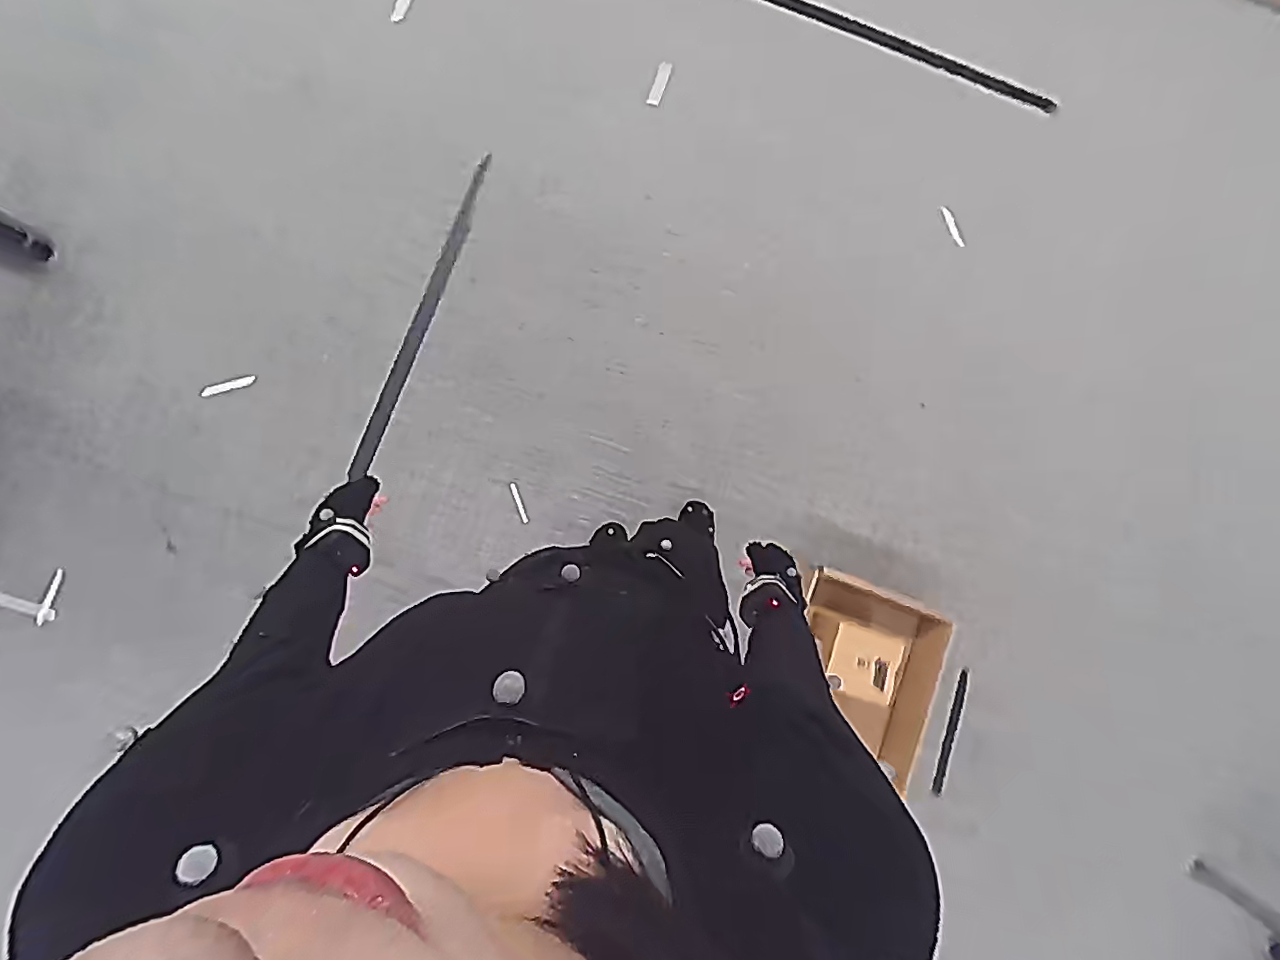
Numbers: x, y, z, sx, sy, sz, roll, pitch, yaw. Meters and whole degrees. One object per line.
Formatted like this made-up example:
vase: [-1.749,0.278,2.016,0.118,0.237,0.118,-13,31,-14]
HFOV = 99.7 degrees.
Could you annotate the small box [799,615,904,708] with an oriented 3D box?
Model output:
small box: [0.548,0.467,1.420,0.179,0.176,0.168,19,85,-2]
